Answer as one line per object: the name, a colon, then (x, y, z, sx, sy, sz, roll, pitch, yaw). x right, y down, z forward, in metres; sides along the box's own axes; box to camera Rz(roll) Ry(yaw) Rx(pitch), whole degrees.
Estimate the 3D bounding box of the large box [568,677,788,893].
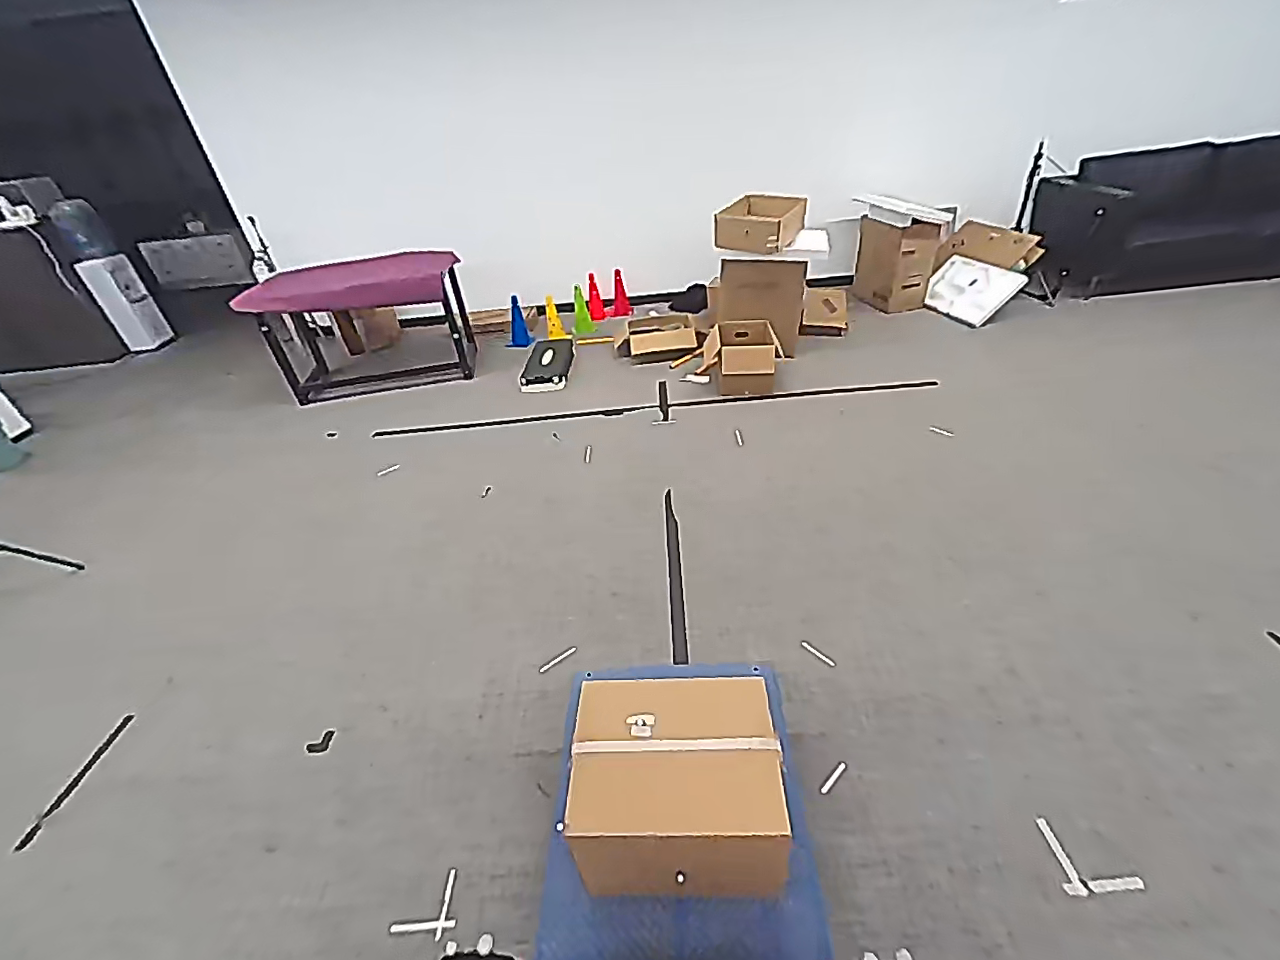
large box: (0.085, 0.663, 1.176, 0.408, 0.320, 0.320, -4, 35, 5)
